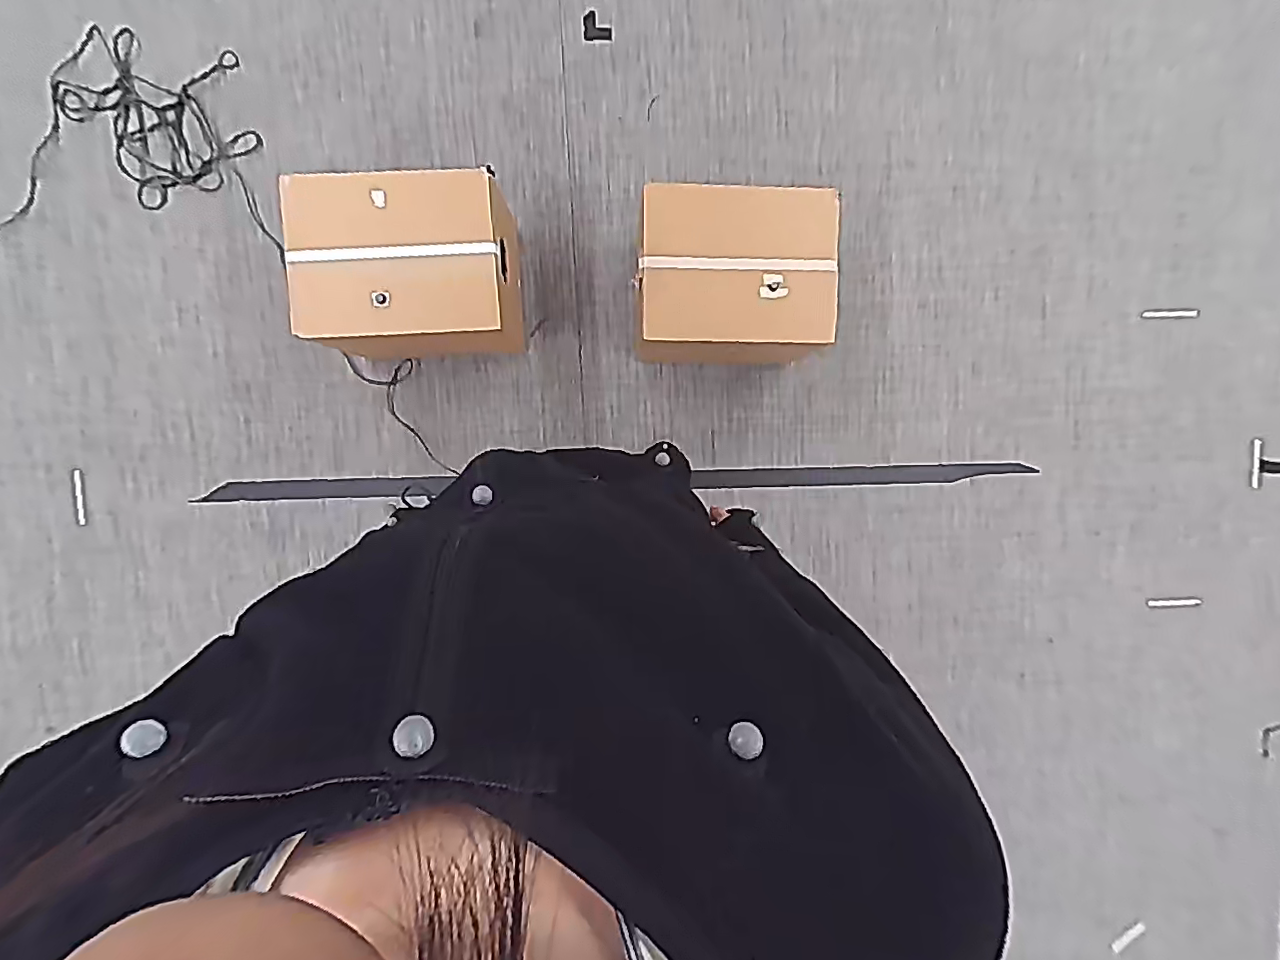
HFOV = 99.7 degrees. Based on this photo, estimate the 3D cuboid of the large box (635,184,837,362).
[{"bbox_3d":[0.198,-0.454,1.261,0.408,0.320,0.320,0,95,-4],"label":"large box"}]
